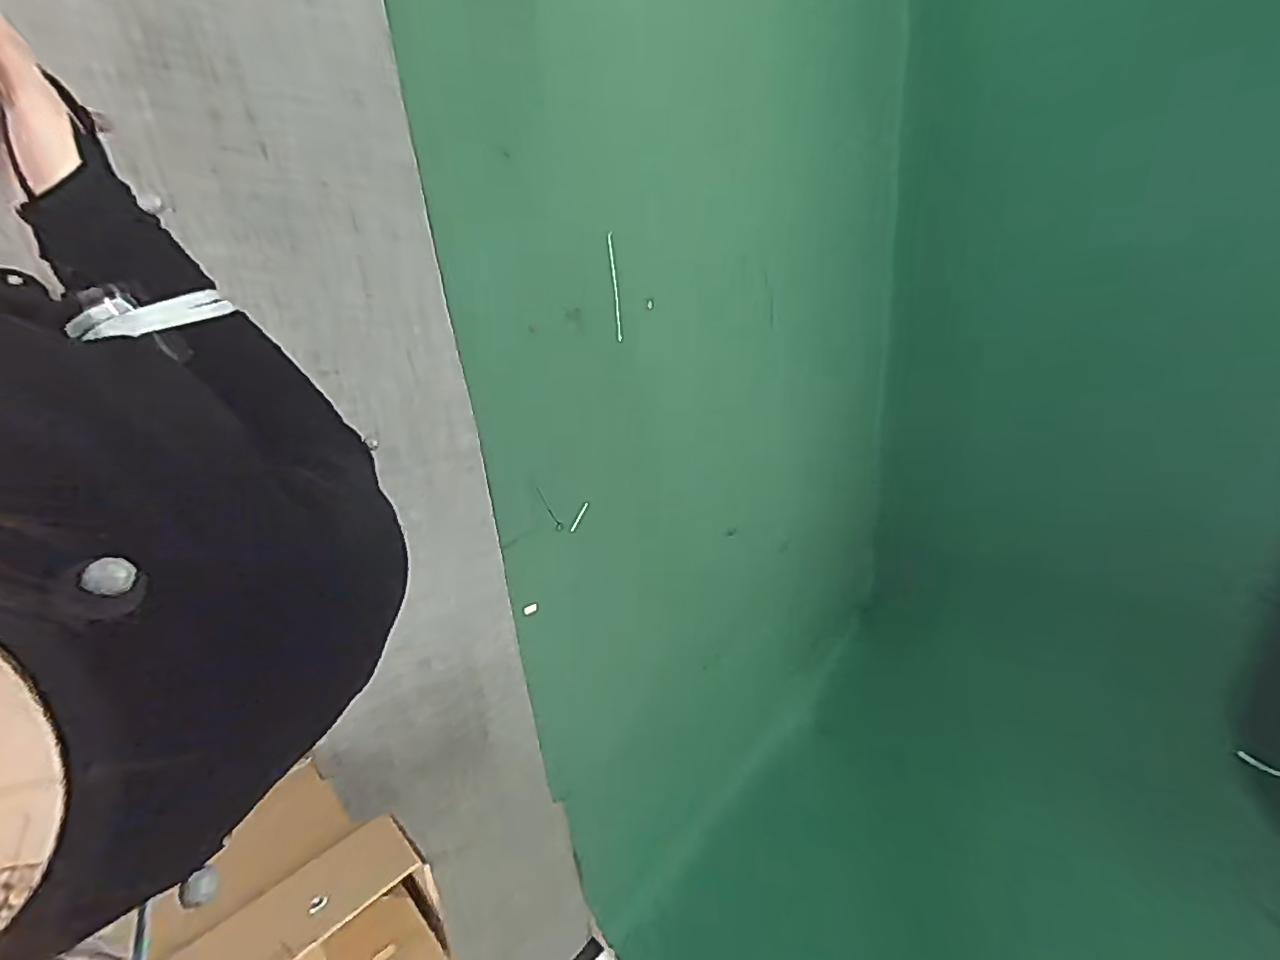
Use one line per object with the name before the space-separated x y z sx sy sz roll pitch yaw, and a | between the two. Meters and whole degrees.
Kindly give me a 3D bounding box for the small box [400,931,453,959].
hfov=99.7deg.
small box | -0.407 1.007 0.994 0.179 0.176 0.168 -24 116 -39
